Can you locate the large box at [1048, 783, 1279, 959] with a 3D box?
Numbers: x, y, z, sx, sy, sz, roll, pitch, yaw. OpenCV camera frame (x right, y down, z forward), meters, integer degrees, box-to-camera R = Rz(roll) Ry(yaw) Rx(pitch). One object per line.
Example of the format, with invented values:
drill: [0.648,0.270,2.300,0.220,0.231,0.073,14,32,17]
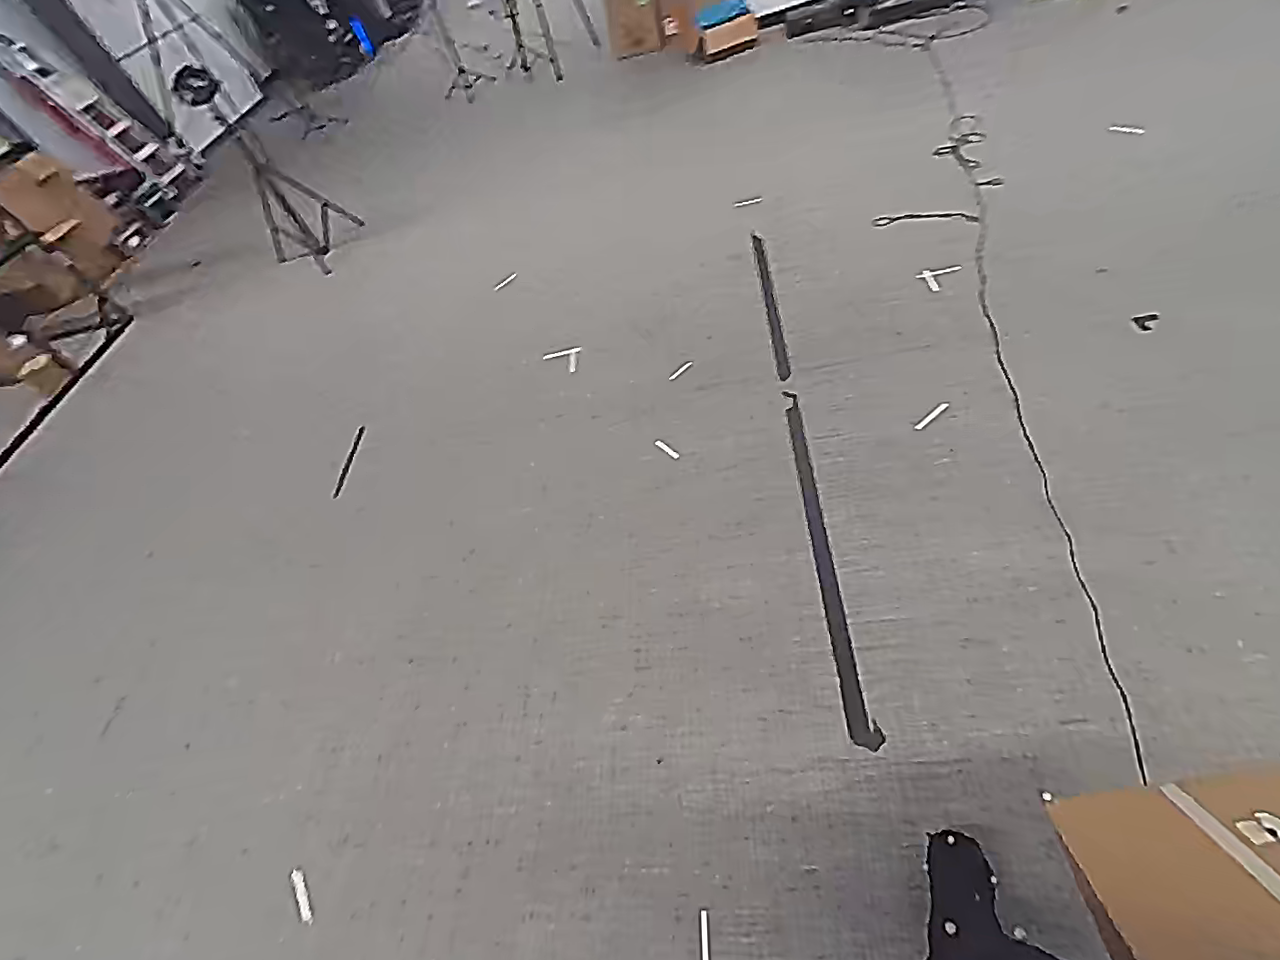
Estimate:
large box: [0.723,0.582,0.556,0.320,0.408,0.320,-20,79,19]
